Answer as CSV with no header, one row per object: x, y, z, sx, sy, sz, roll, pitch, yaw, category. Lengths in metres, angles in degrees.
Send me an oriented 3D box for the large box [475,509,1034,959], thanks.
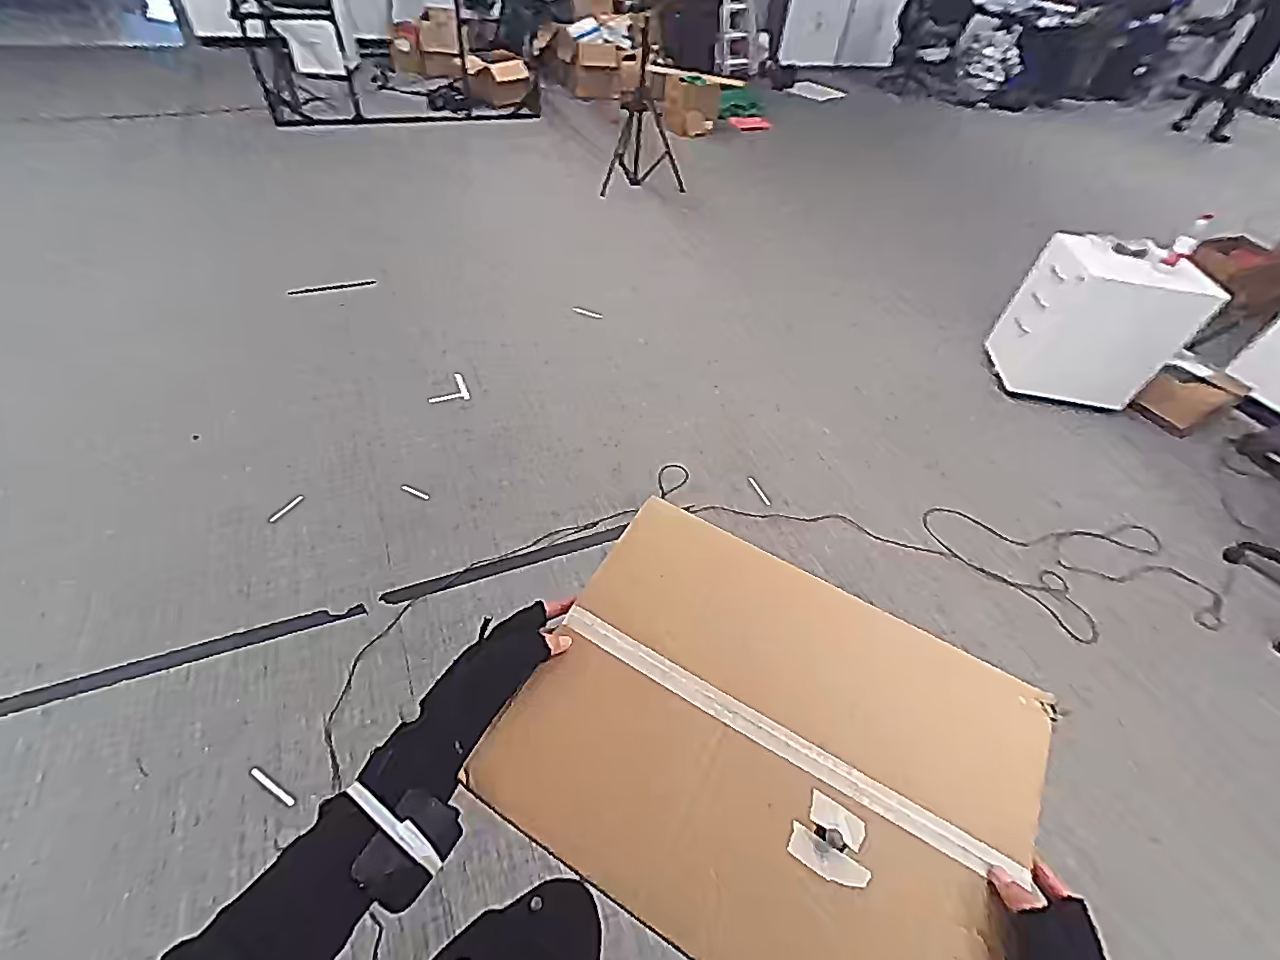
0.103,0.302,0.581,0.408,0.320,0.320,27,59,15,large box
